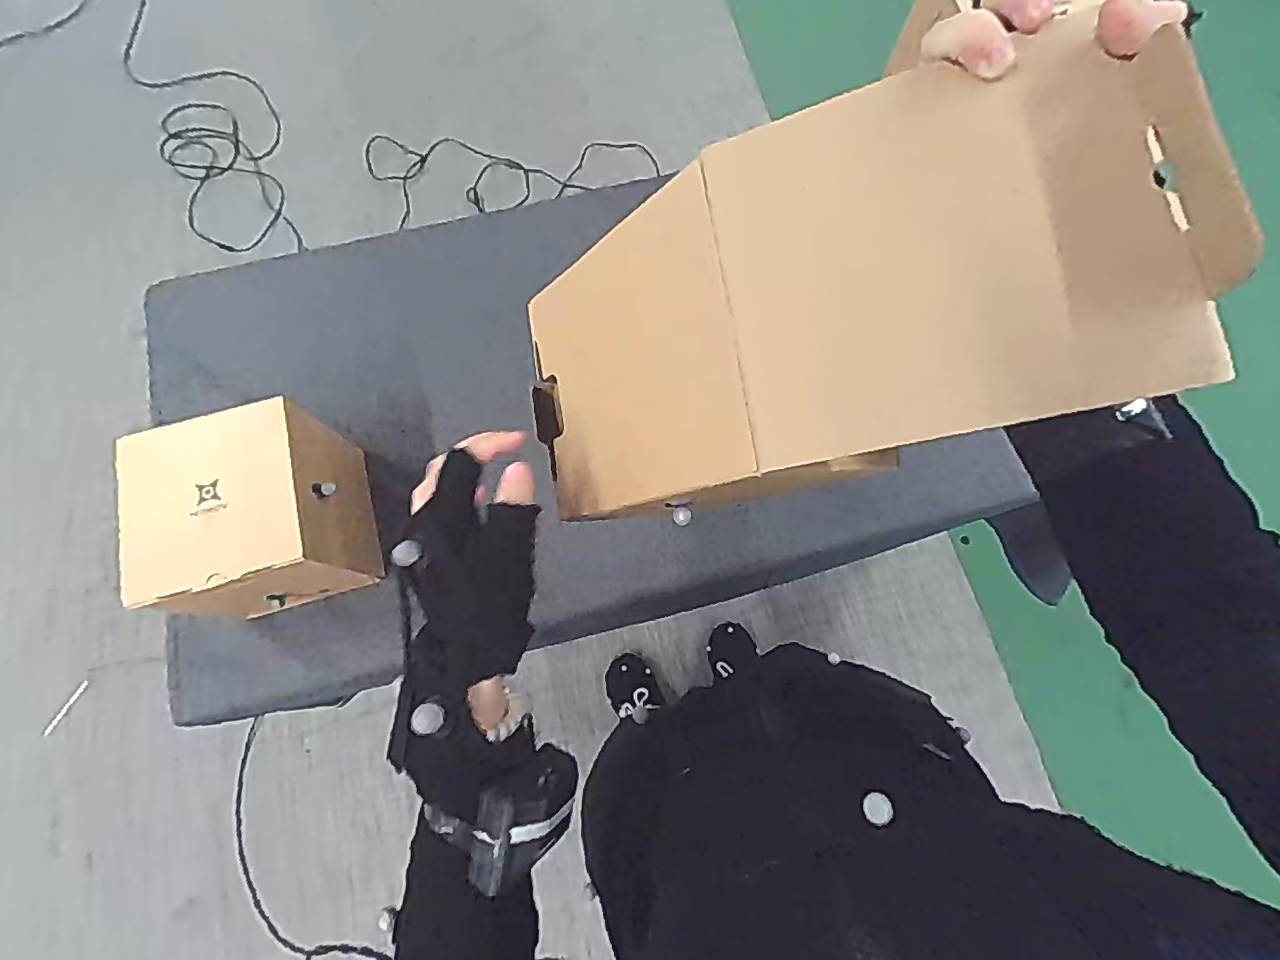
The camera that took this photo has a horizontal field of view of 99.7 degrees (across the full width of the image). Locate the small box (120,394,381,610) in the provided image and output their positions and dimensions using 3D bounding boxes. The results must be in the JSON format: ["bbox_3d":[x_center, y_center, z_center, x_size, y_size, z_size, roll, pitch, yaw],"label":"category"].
[{"bbox_3d":[-0.412,0.035,0.596,0.168,0.176,0.179,-16,75,-5],"label":"small box"}]

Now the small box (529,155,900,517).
[{"bbox_3d":[0.047,-0.069,0.374,0.176,0.179,0.168,-3,81,-43],"label":"small box"}]
